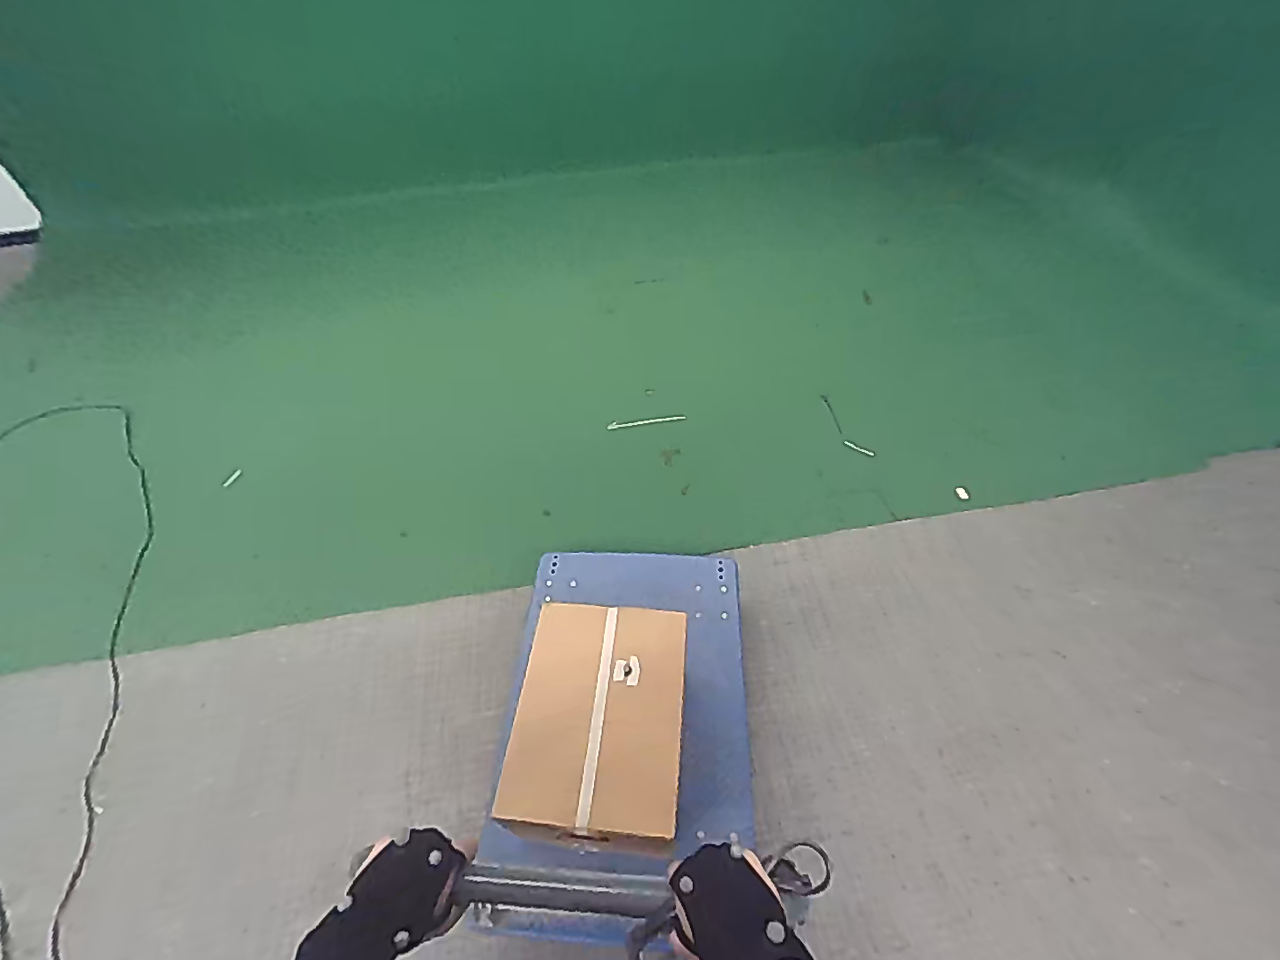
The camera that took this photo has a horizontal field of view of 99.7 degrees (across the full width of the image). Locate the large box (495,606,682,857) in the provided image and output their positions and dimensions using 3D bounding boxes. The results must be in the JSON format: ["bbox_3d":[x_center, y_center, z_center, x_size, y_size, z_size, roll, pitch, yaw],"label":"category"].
[{"bbox_3d":[-0.073,0.526,1.142,0.320,0.320,0.408,3,49,5],"label":"large box"}]
